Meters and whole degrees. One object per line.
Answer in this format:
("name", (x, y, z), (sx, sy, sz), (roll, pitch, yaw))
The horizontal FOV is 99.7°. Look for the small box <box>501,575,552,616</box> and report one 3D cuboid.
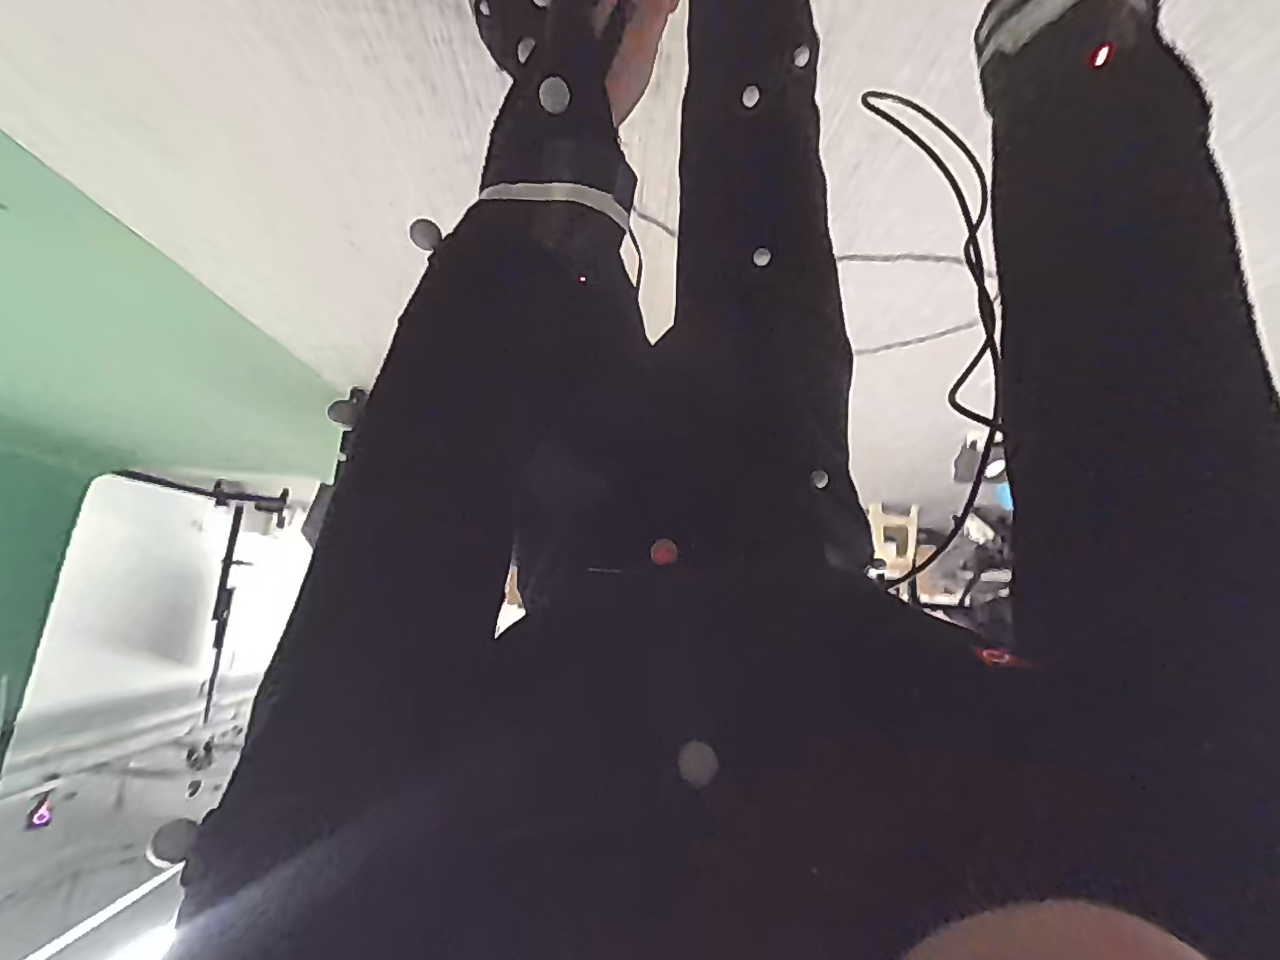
("small box", (-0.509, 0.522, 2.438), (0.168, 0.176, 0.179), (3, 168, 12))
